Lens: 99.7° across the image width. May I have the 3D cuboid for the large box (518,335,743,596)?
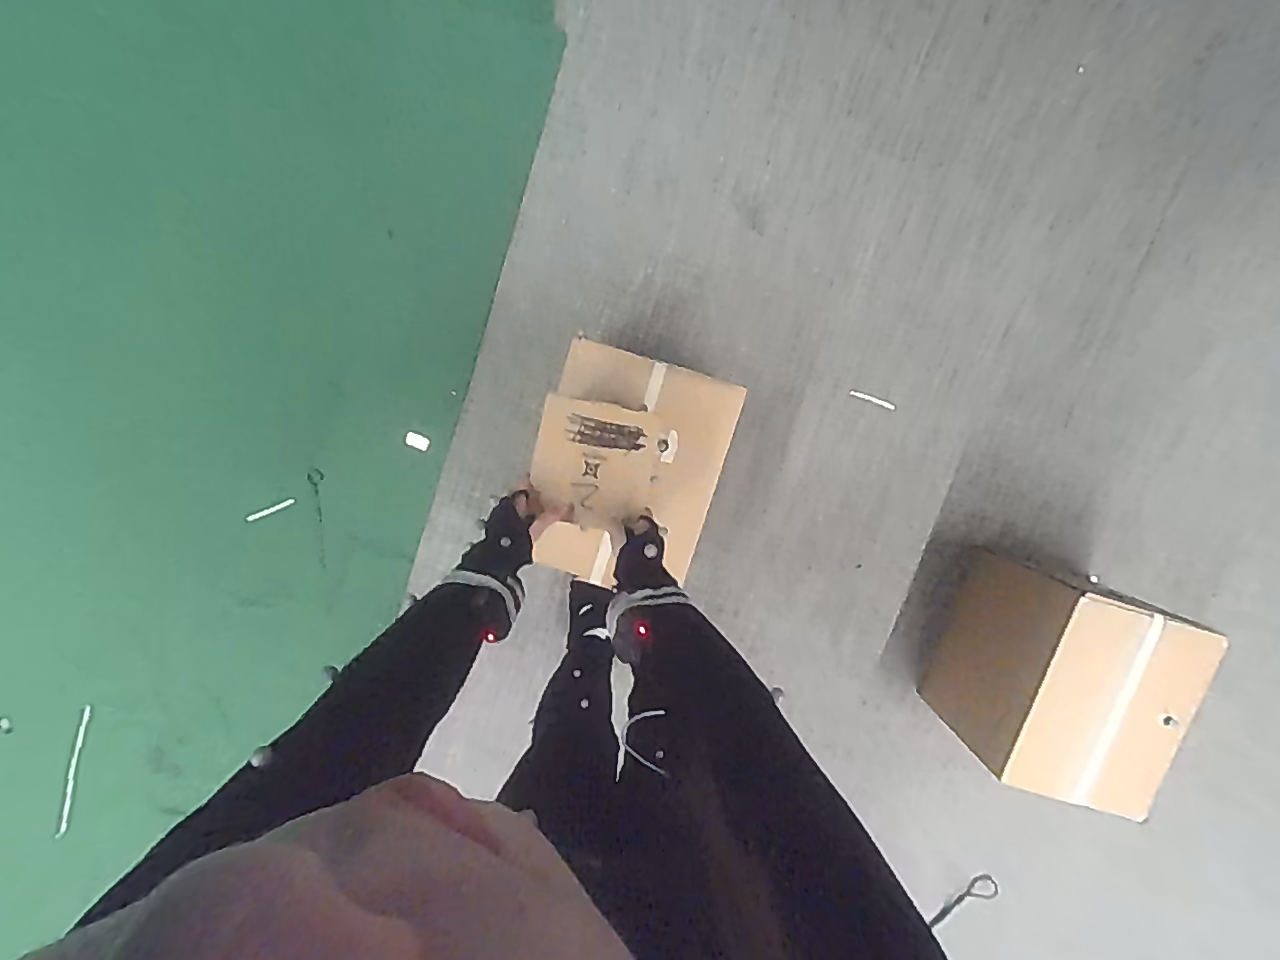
[{"bbox_3d":[-0.021,-0.035,1.097,0.320,0.320,0.408,17,97,-3],"label":"large box"}]
